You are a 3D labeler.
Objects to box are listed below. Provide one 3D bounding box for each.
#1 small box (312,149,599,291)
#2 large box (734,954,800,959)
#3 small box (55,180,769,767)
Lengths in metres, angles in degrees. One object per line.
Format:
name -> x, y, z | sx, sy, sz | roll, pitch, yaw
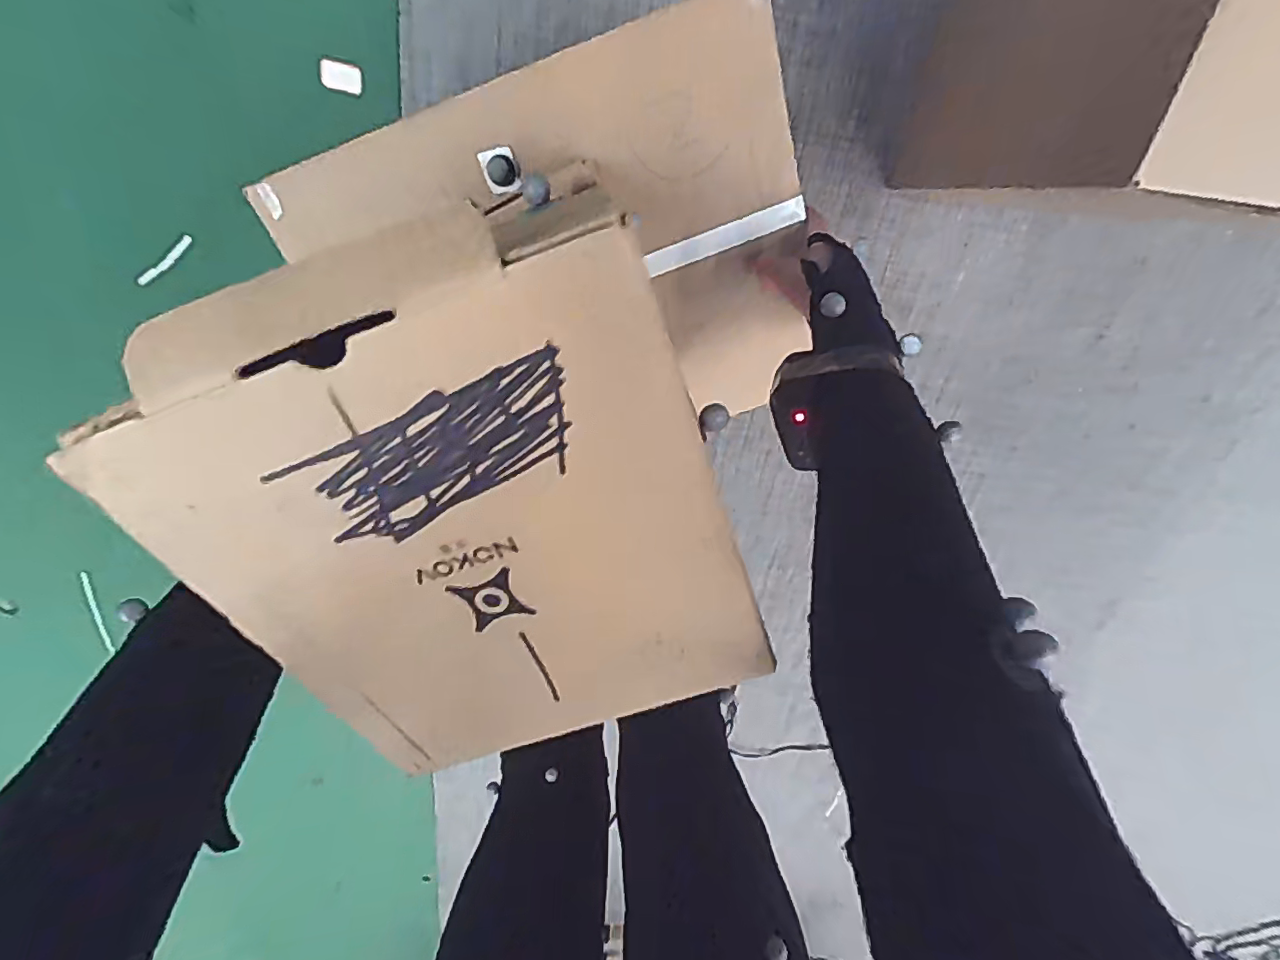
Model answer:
small box -> -0.074, -0.102, 0.383 | 0.168, 0.176, 0.179 | -23, 119, 9
large box -> 0.421, 1.772, 1.679 | 0.320, 0.320, 0.408 | 8, 116, -3
small box -> -0.059, -0.014, 0.245 | 0.168, 0.176, 0.179 | -19, 121, 7
